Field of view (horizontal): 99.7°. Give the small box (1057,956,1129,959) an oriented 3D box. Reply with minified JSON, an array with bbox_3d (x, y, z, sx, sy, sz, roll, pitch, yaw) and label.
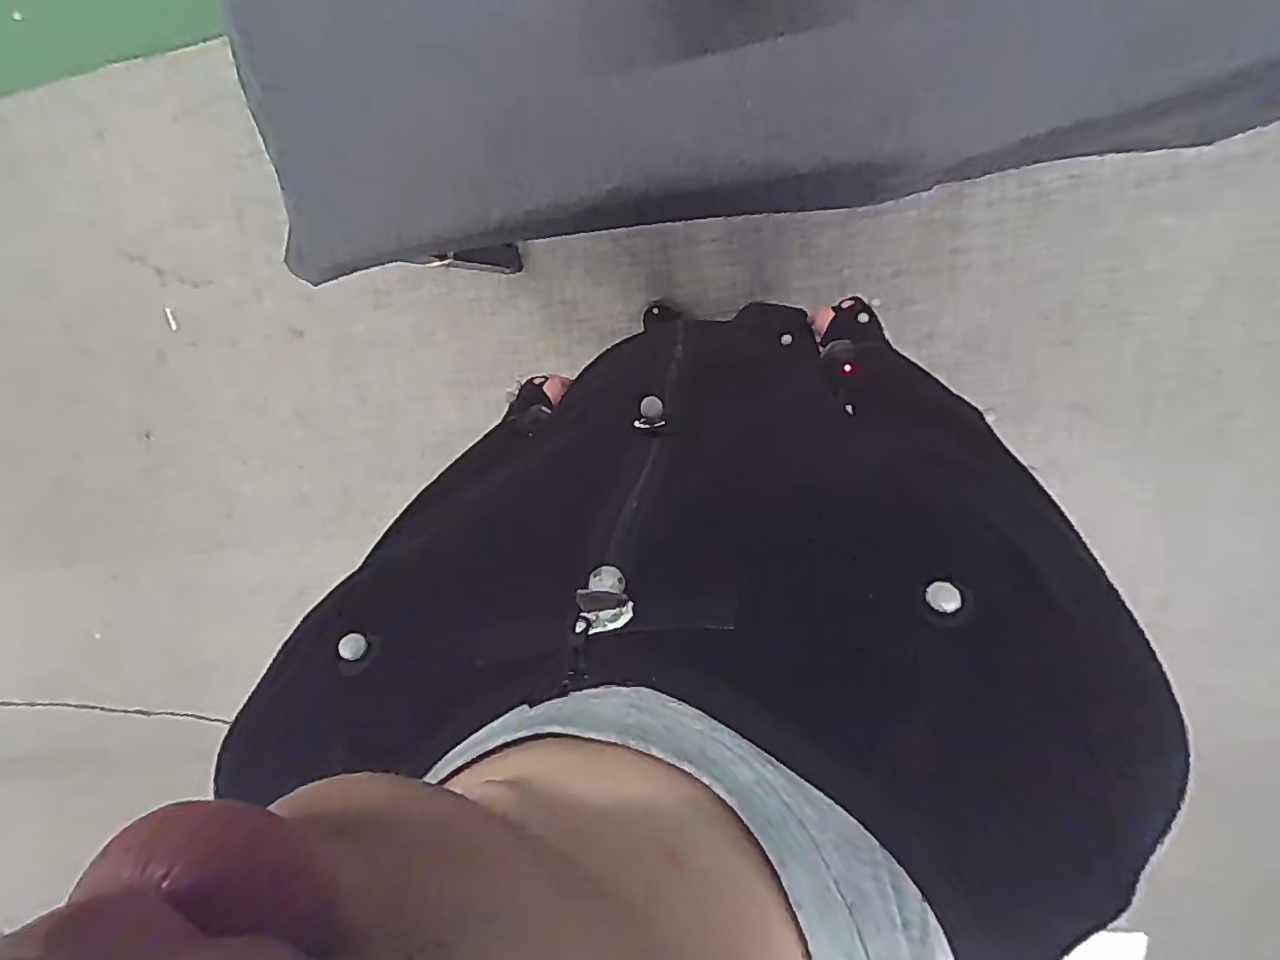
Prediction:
[{"bbox_3d":[0.995,1.156,1.146,0.179,0.176,0.168,-6,109,8],"label":"small box"}]
